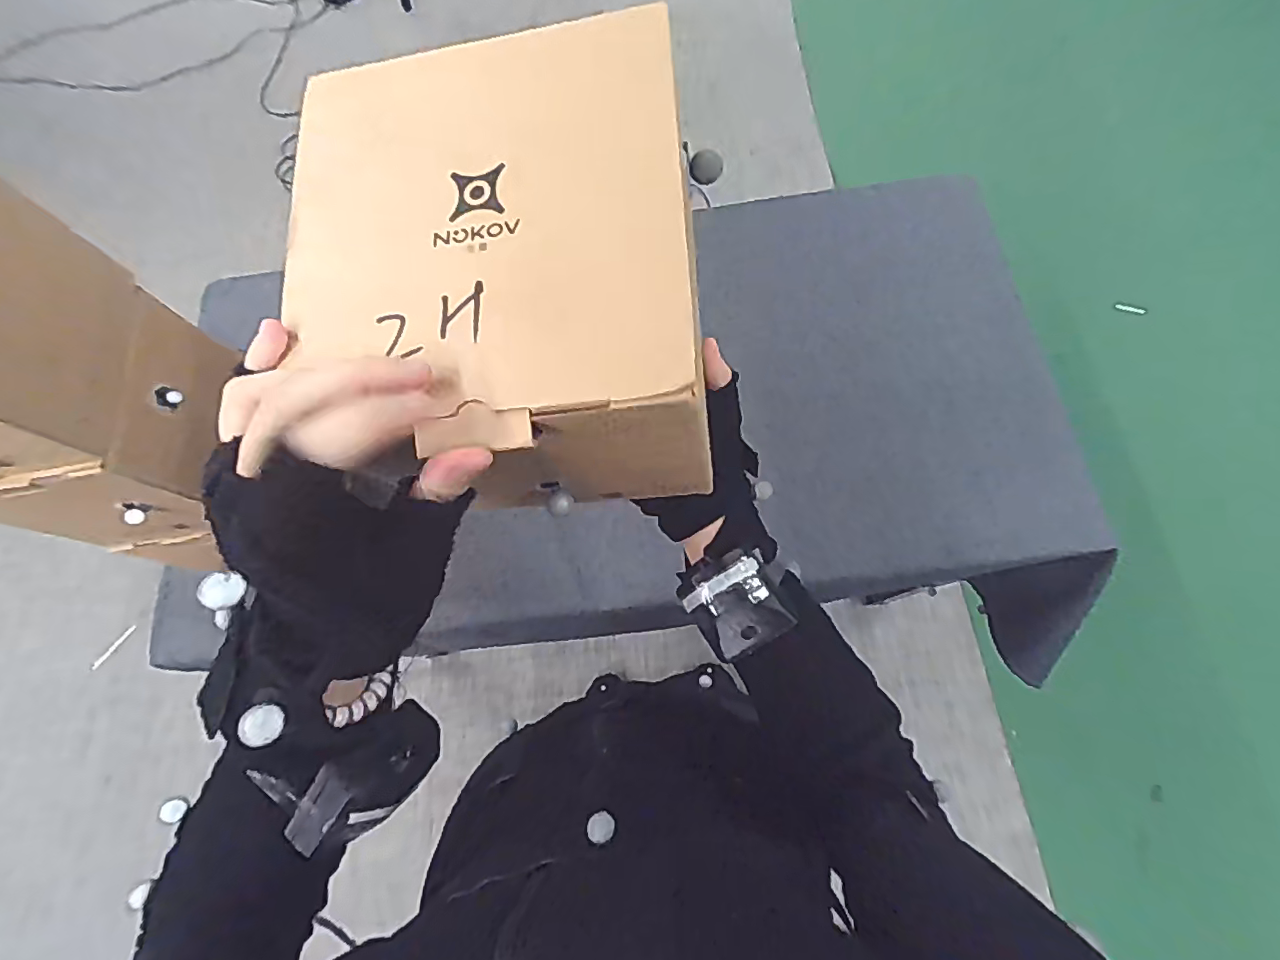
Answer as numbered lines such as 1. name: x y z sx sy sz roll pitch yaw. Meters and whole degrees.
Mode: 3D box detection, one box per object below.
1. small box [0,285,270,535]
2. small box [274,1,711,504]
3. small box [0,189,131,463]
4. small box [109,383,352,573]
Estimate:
1. small box: -0.493 -0.051 0.517 0.168 0.176 0.179 -8 70 0
2. small box: -0.051 -0.091 0.293 0.168 0.176 0.179 -5 77 9
3. small box: -0.505 -0.112 0.365 0.168 0.176 0.179 -10 70 -1
4. small box: -0.483 0.006 0.669 0.168 0.176 0.179 -9 71 1
